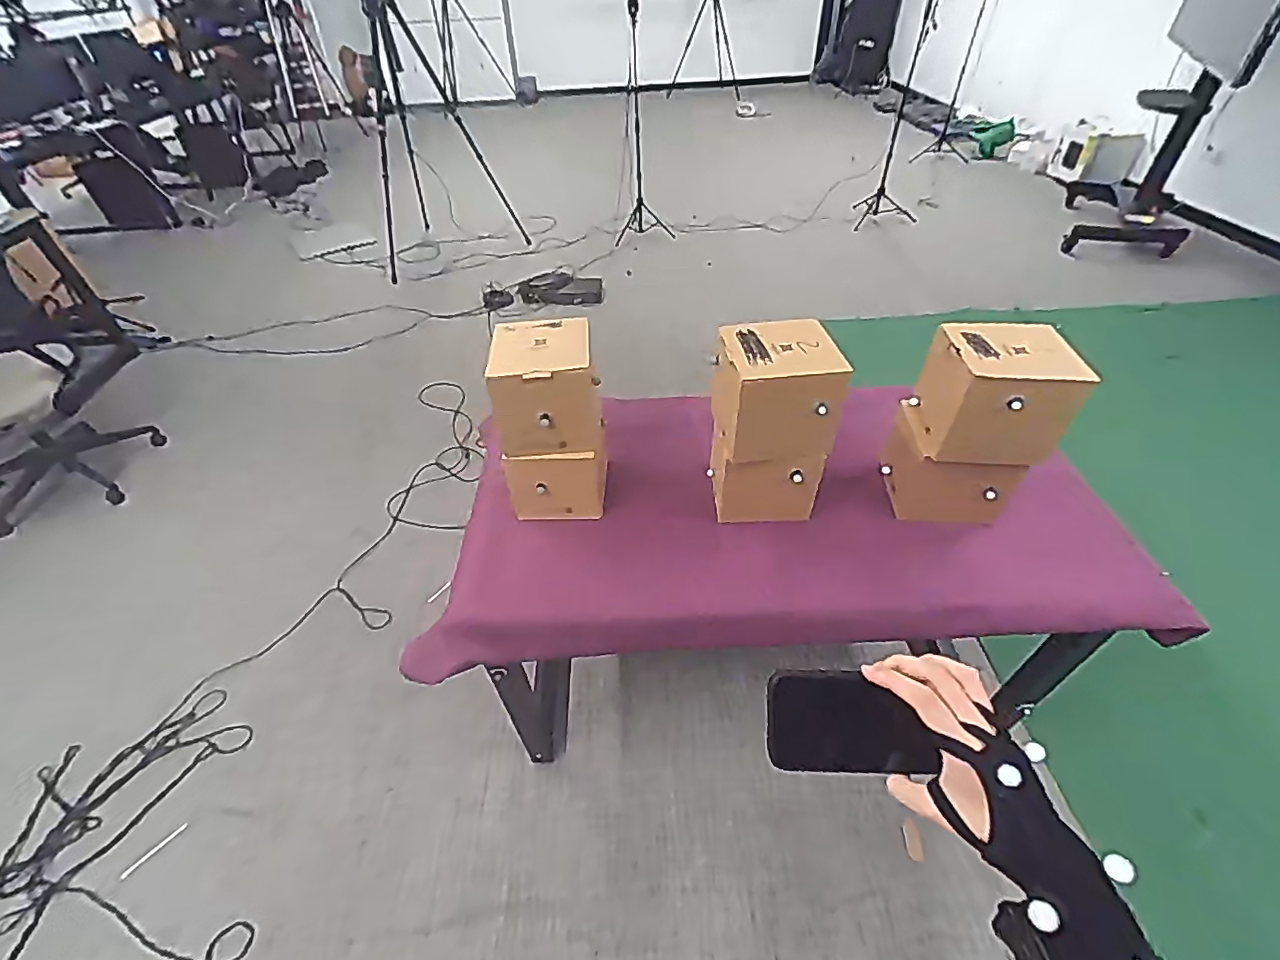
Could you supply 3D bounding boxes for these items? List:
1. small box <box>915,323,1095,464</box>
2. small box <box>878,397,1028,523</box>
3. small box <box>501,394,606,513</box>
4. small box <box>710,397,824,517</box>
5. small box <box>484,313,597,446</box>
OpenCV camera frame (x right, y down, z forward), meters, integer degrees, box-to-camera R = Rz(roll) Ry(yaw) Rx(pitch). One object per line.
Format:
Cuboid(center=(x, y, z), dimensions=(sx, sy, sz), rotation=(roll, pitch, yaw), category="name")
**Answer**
Cuboid(center=(0.574, -0.141, 0.887), dimensions=(0.179, 0.176, 0.168), rotation=(4, 45, 6), category="small box")
Cuboid(center=(0.571, -0.036, 1.013), dimensions=(0.179, 0.176, 0.168), rotation=(3, 44, 7), category="small box")
Cuboid(center=(-0.158, -0.049, 1.062), dimensions=(0.168, 0.176, 0.179), rotation=(0, 45, 2), category="small box")
Cuboid(center=(0.231, -0.041, 1.033), dimensions=(0.179, 0.176, 0.168), rotation=(-1, 44, 2), category="small box")
Cuboid(center=(-0.164, -0.172, 0.953), dimensions=(0.168, 0.176, 0.179), rotation=(-4, 45, -2), category="small box")
